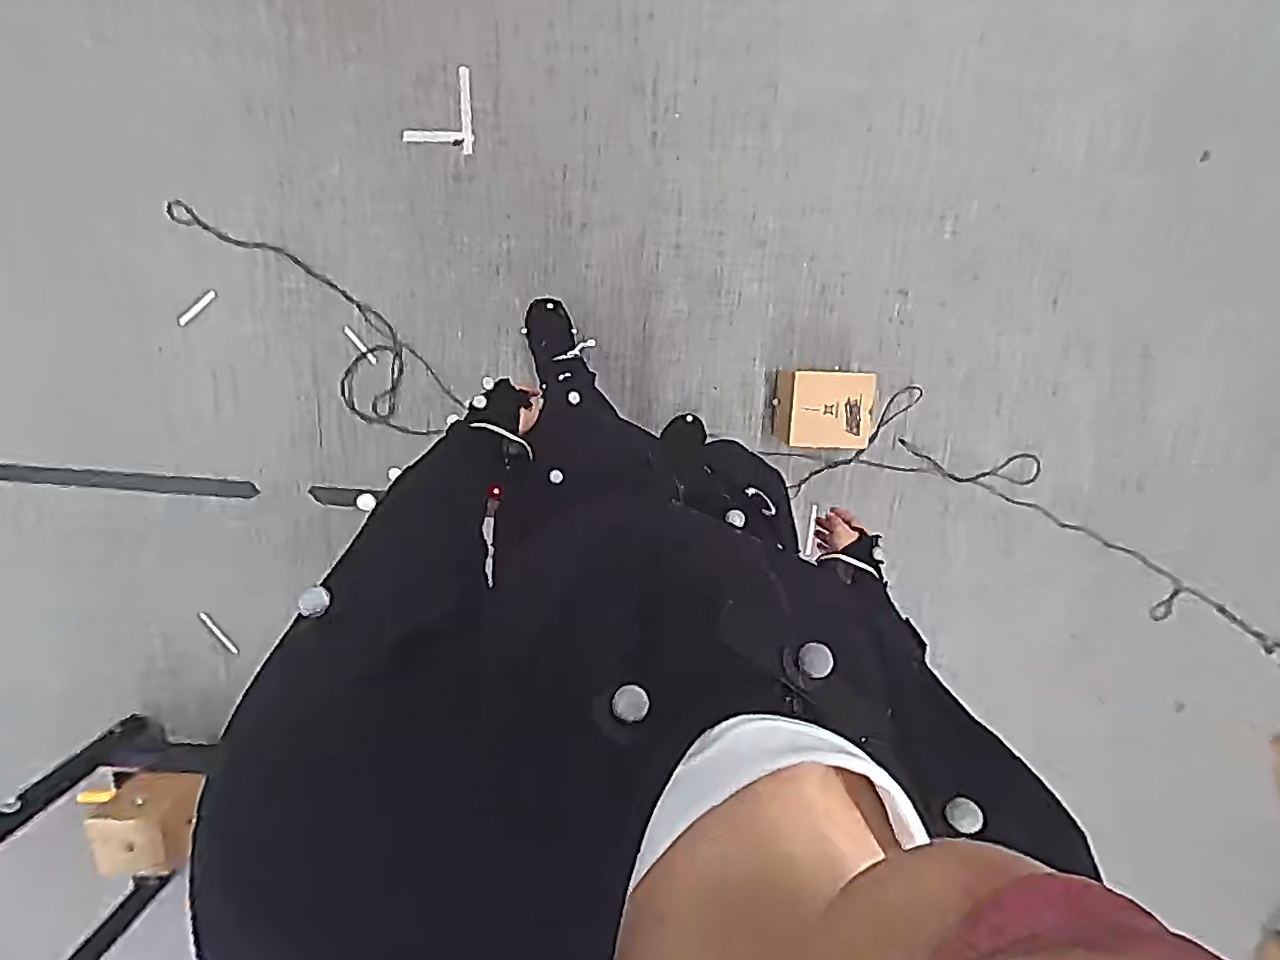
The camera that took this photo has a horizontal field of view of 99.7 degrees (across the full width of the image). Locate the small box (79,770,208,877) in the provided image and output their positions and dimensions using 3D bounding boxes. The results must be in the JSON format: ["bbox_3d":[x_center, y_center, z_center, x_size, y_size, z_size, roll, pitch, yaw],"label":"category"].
[{"bbox_3d":[-1.244,0.866,1.374,0.179,0.176,0.168,2,102,-1],"label":"small box"}]

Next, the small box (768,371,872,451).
[{"bbox_3d":[0.409,-0.165,1.254,0.179,0.176,0.168,2,102,1],"label":"small box"}]
